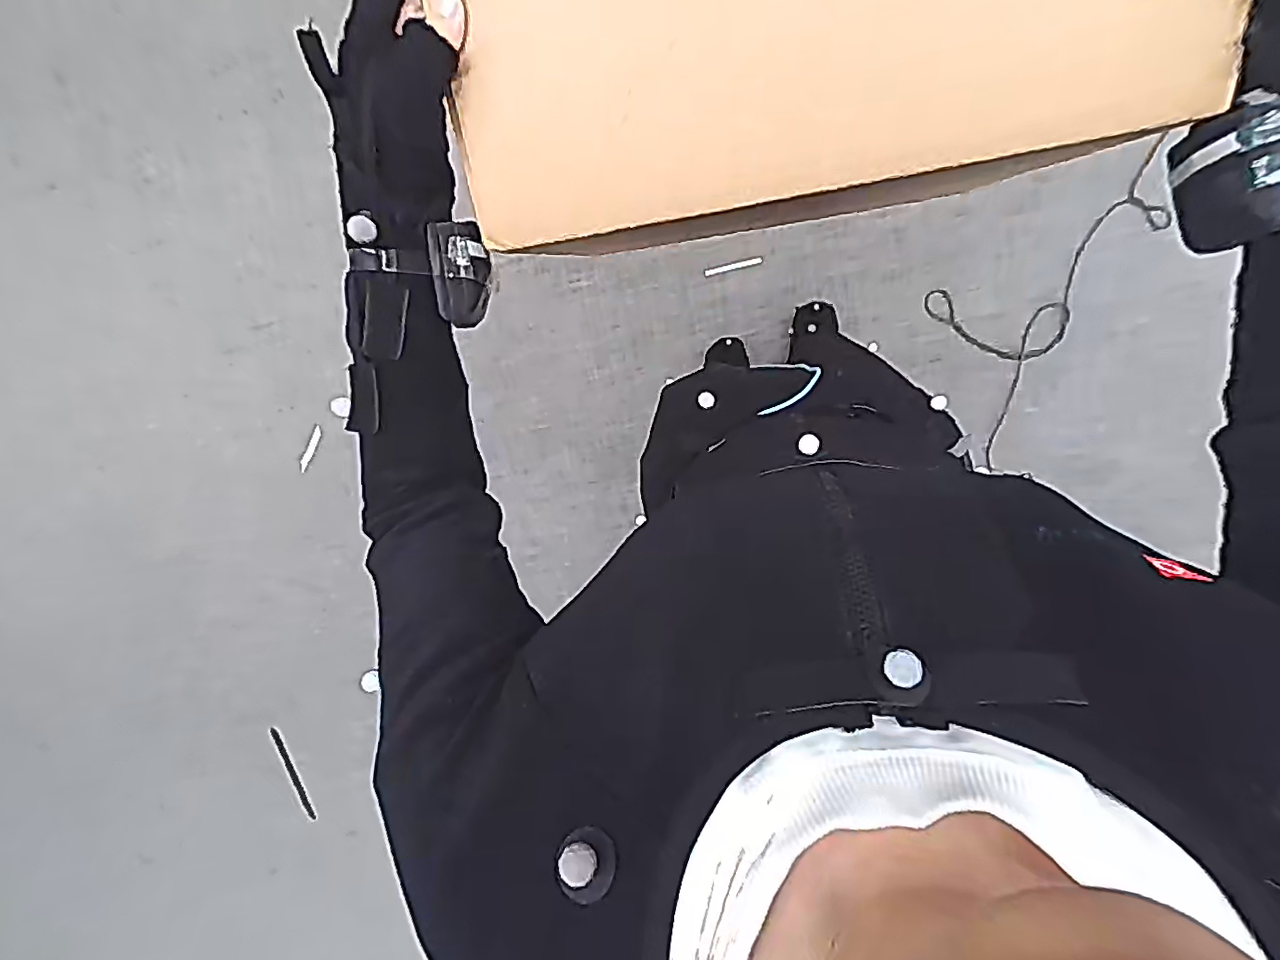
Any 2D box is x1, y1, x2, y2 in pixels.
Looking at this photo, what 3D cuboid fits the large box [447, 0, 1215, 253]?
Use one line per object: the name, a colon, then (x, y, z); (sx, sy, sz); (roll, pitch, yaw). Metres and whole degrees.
large box: (0.095, -0.375, 0.408); (0.408, 0.320, 0.320); (-6, 111, 10)
